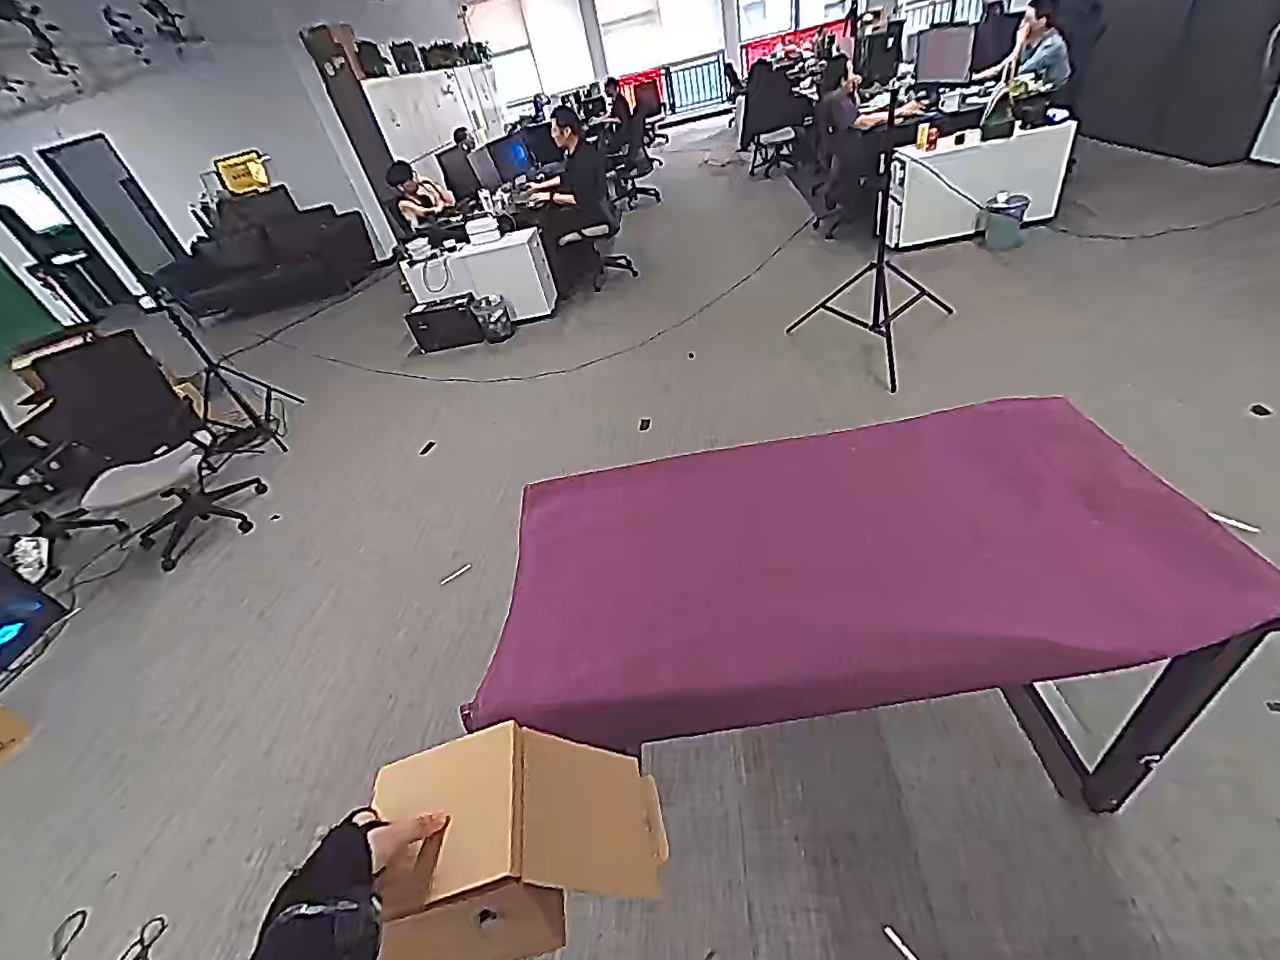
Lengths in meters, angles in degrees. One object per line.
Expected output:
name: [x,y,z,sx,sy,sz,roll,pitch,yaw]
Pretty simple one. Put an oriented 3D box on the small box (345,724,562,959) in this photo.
small box: [-0.191,0.419,0.618,0.179,0.176,0.168,-14,32,-2]
